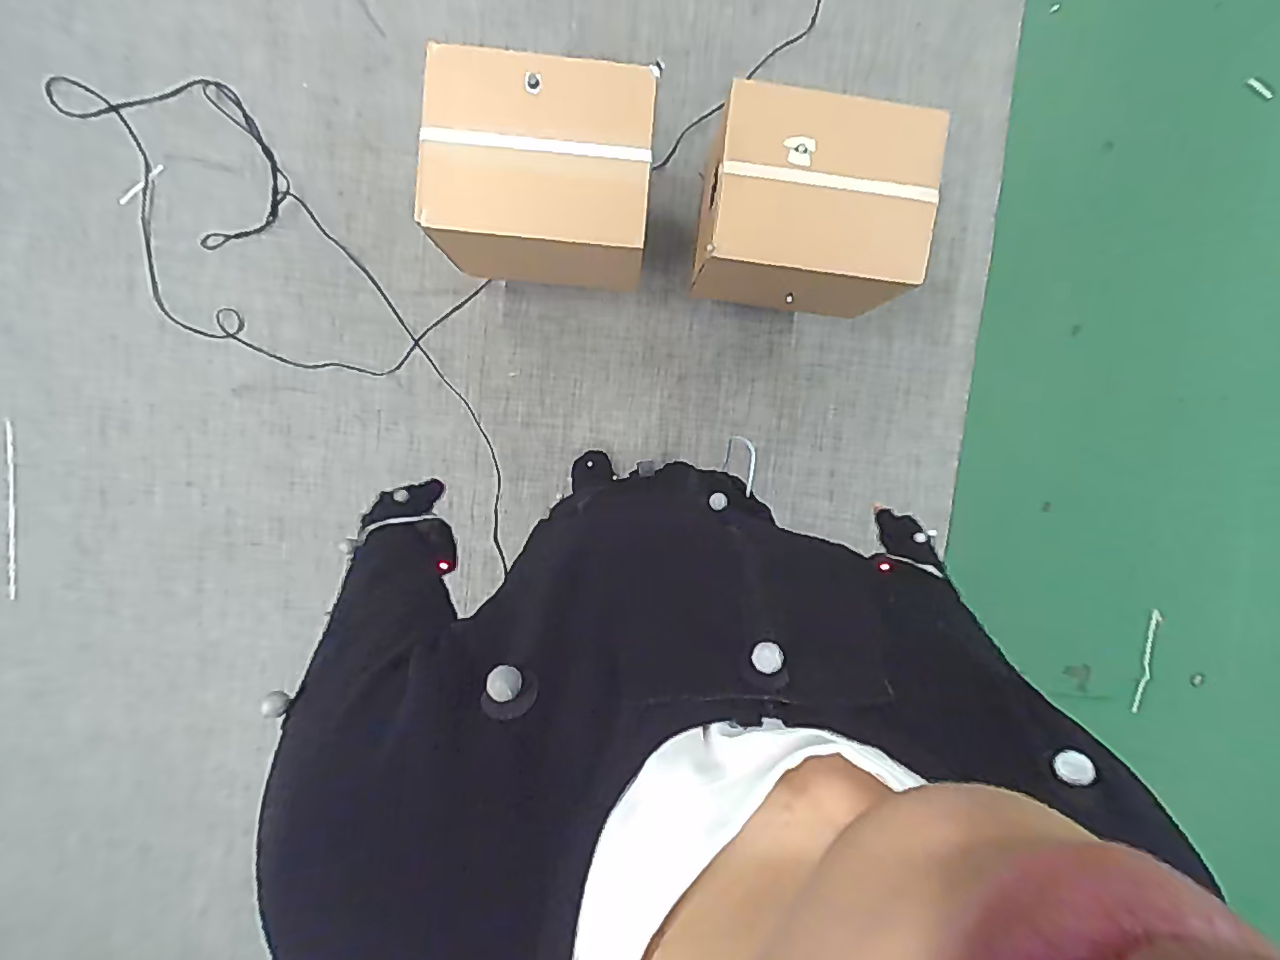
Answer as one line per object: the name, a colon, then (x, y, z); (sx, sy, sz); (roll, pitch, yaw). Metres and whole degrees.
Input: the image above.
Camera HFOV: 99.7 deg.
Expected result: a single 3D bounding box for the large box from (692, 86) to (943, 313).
large box: (0.342, -0.557, 1.146); (0.408, 0.320, 0.320); (7, 94, -2)
